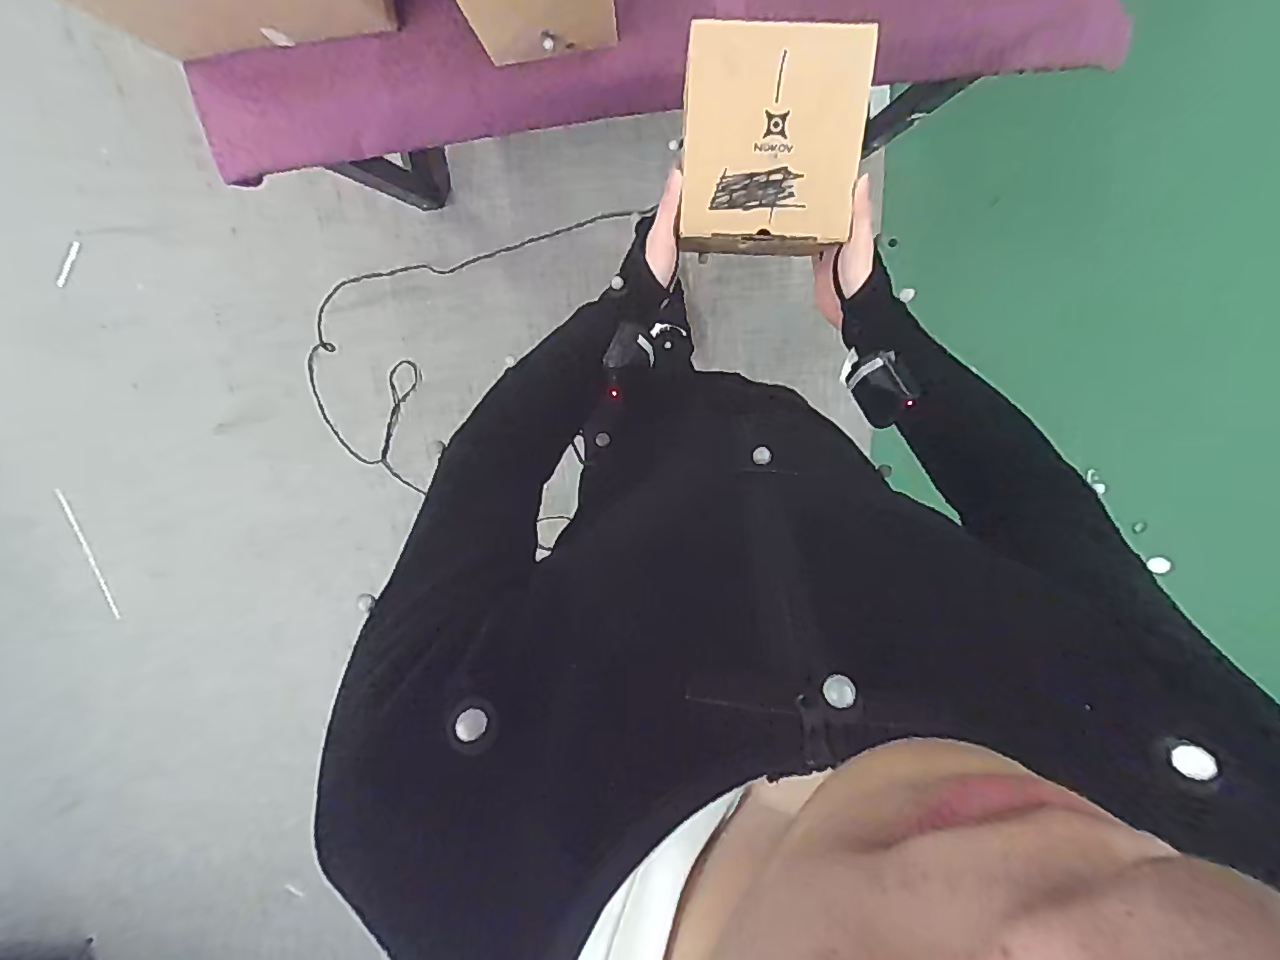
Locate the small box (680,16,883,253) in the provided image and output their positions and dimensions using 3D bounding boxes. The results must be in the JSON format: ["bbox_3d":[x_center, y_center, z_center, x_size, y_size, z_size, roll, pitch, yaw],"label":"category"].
[{"bbox_3d":[0.130,-0.341,0.569,0.168,0.176,0.179,2,107,1],"label":"small box"}]

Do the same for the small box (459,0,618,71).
[{"bbox_3d":[-0.121,-0.605,0.605,0.168,0.176,0.179,-8,106,4],"label":"small box"}]
